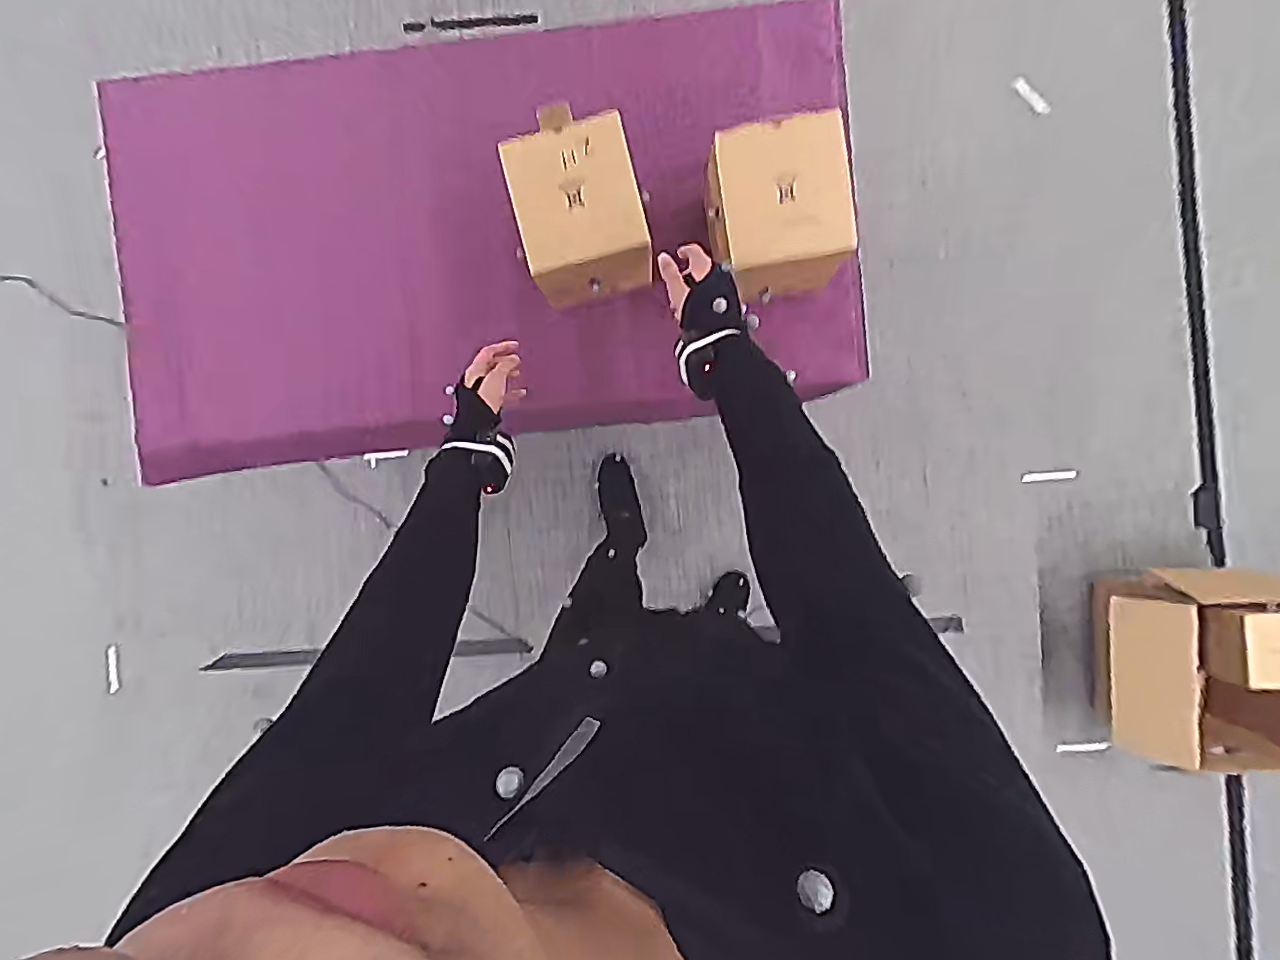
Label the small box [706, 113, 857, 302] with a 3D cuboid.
[{"bbox_3d":[0.190,-0.377,0.777,0.168,0.176,0.179,-8,91,3],"label":"small box"}]

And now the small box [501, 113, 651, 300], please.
[{"bbox_3d":[-0.081,-0.377,0.785,0.168,0.176,0.179,-14,91,2],"label":"small box"}]
